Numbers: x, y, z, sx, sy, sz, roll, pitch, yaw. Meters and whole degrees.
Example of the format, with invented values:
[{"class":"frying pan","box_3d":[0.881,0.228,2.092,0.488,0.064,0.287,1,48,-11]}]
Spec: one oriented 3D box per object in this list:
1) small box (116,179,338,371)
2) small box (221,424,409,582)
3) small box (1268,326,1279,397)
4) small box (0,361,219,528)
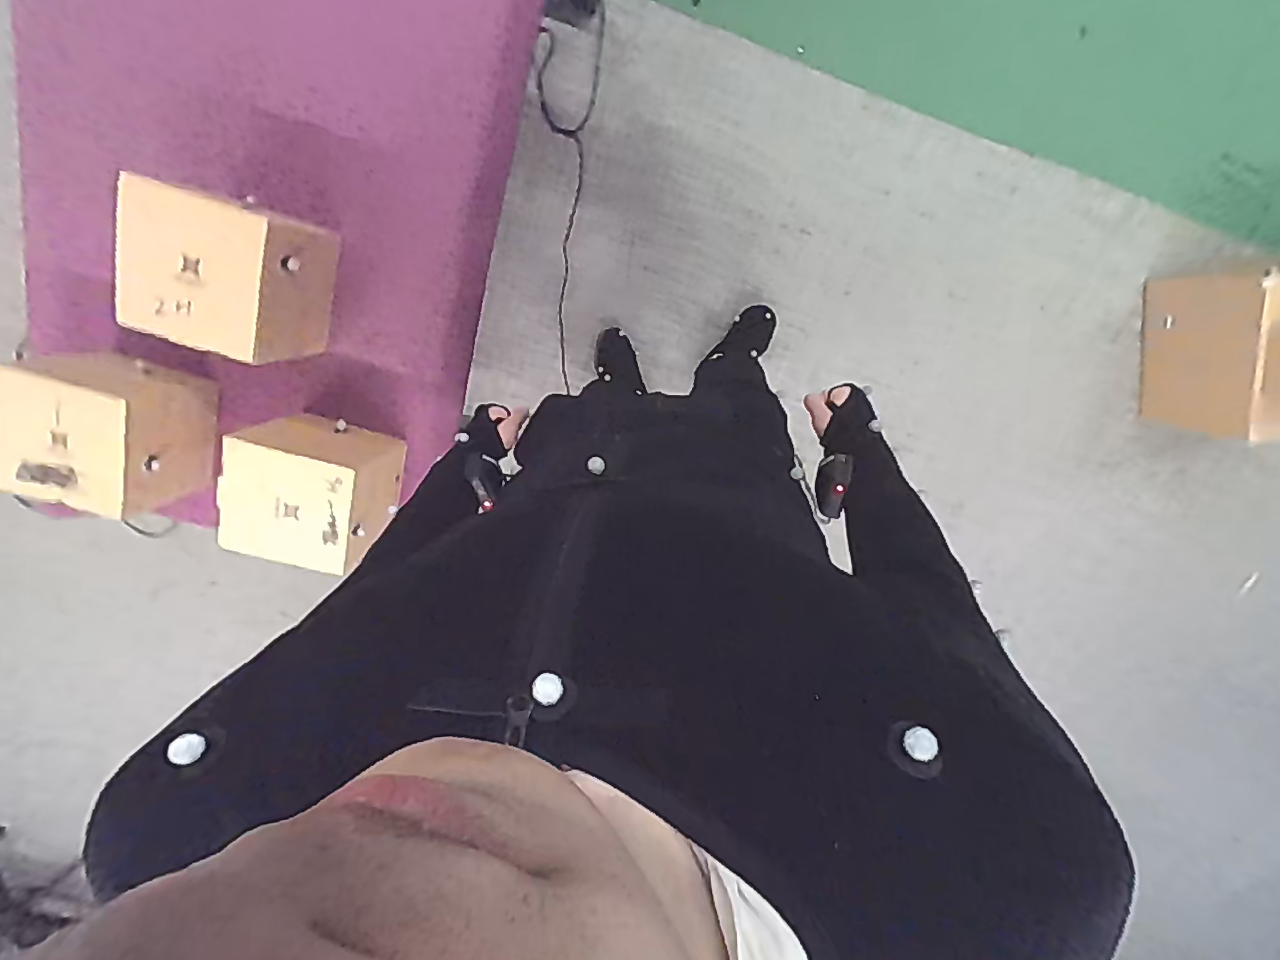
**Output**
[{"class":"small box","box_3d":[-0.528,-0.261,0.714,0.168,0.176,0.179,17,107,-6]},{"class":"small box","box_3d":[-0.476,0.023,0.808,0.179,0.176,0.168,15,108,-4]},{"class":"small box","box_3d":[1.532,-0.261,1.165,0.168,0.176,0.179,-13,108,4]},{"class":"small box","box_3d":[-0.753,-0.059,0.780,0.168,0.176,0.179,16,106,-6]}]
